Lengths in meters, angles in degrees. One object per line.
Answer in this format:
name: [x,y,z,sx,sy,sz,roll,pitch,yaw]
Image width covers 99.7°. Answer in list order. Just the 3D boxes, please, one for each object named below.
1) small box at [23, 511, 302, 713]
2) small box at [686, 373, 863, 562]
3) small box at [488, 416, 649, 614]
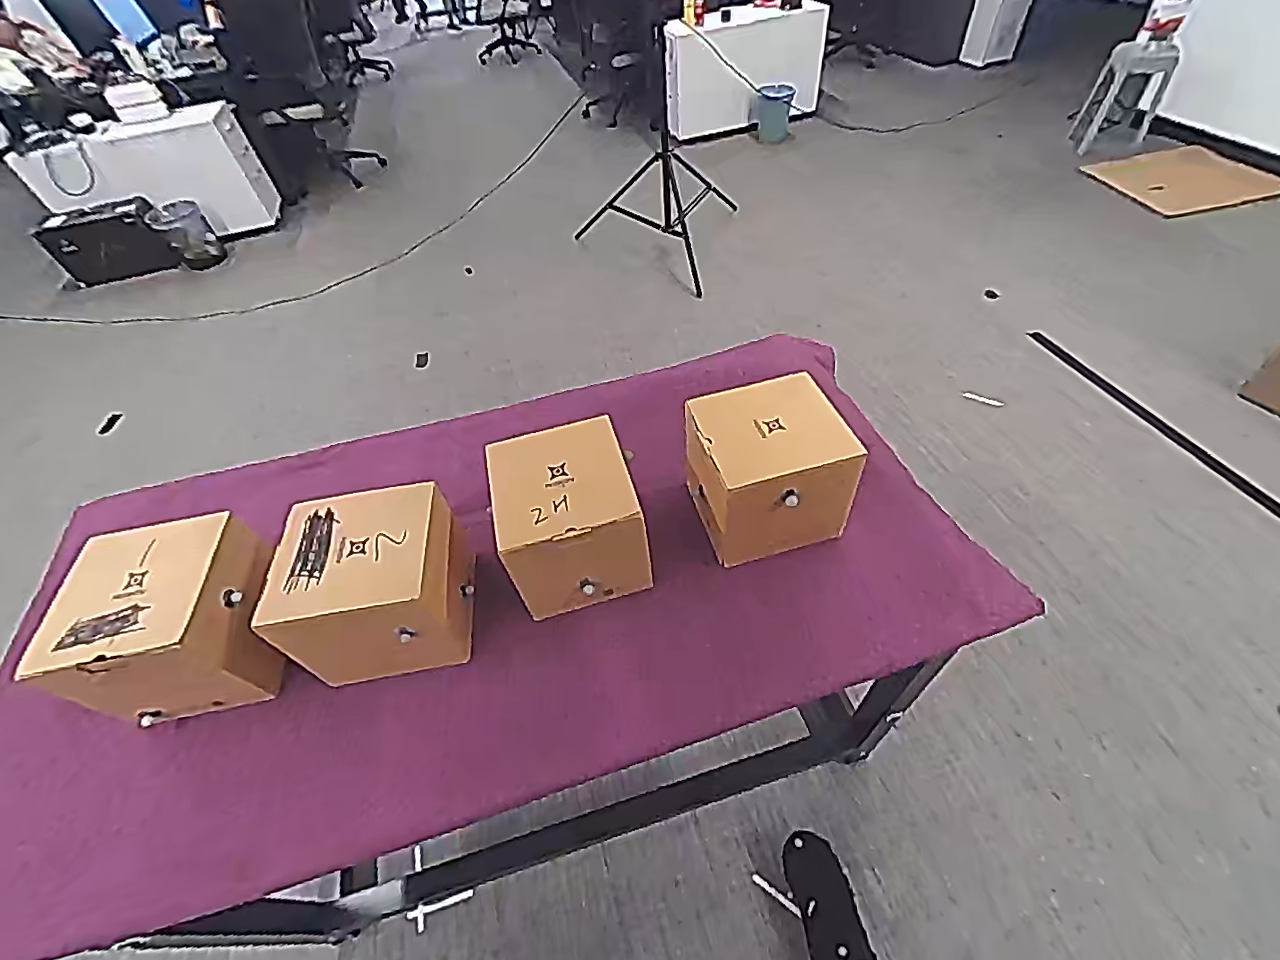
small box: [-0.551,0.168,0.662,0.168,0.176,0.179,-11,50,-4]
small box: [0.168,-0.014,0.736,0.179,0.176,0.168,-15,49,-5]
small box: [-0.092,0.047,0.714,0.168,0.176,0.179,-15,50,-6]
